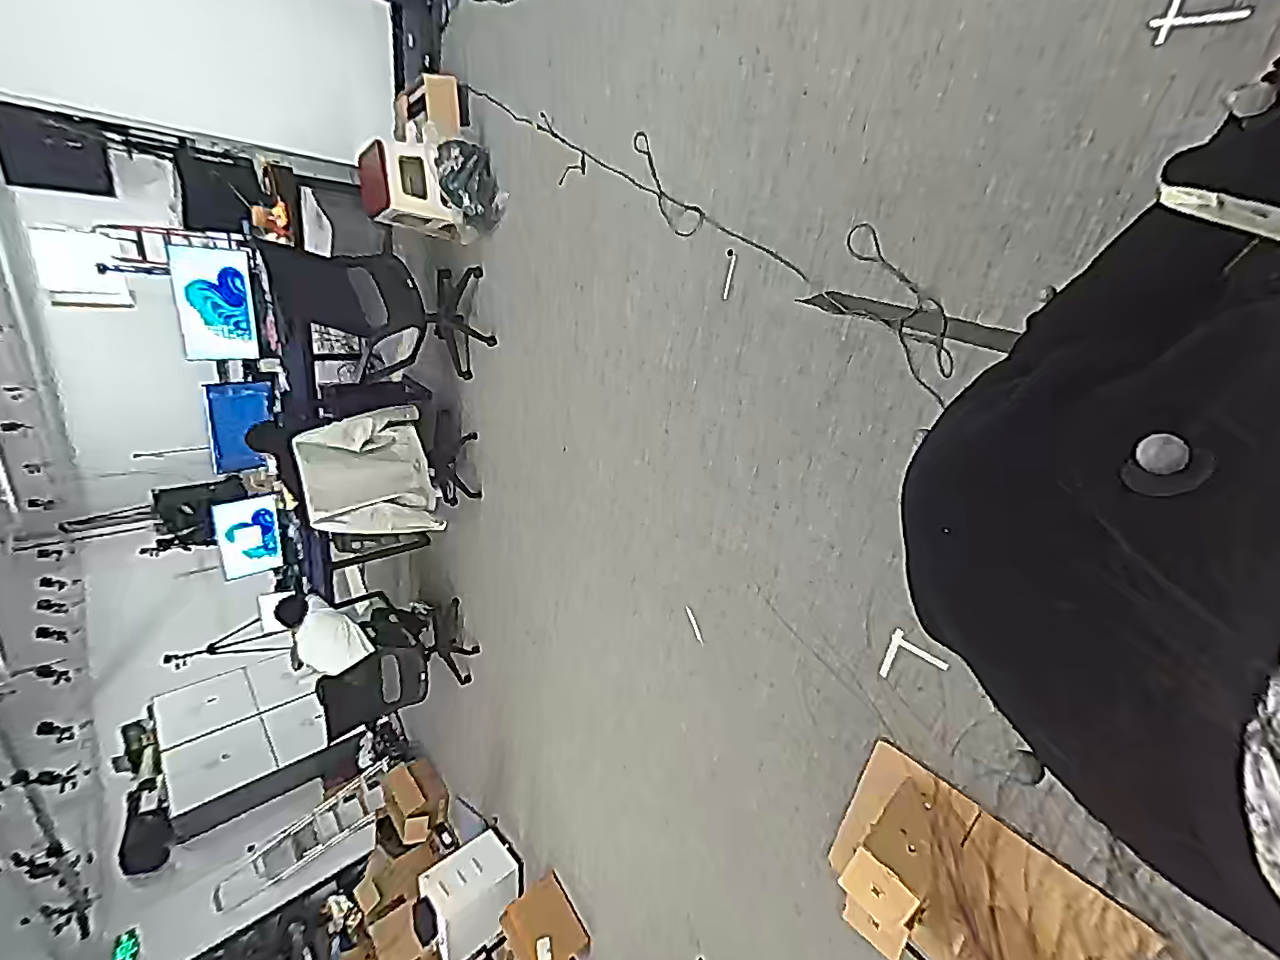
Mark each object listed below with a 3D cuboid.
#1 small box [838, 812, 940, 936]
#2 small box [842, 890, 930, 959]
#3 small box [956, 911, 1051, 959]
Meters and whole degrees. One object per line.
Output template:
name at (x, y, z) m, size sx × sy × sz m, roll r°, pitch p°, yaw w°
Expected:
small box at (0.668, 1.047, 1.448) m, size 0.168 × 0.176 × 0.179 m, roll 34°, pitch 122°, yaw 37°
small box at (0.757, 1.309, 1.665) m, size 0.179 × 0.176 × 0.168 m, roll 25°, pitch 118°, yaw 42°
small box at (0.971, 1.311, 1.432) m, size 0.179 × 0.176 × 0.168 m, roll 38°, pitch 125°, yaw 33°
